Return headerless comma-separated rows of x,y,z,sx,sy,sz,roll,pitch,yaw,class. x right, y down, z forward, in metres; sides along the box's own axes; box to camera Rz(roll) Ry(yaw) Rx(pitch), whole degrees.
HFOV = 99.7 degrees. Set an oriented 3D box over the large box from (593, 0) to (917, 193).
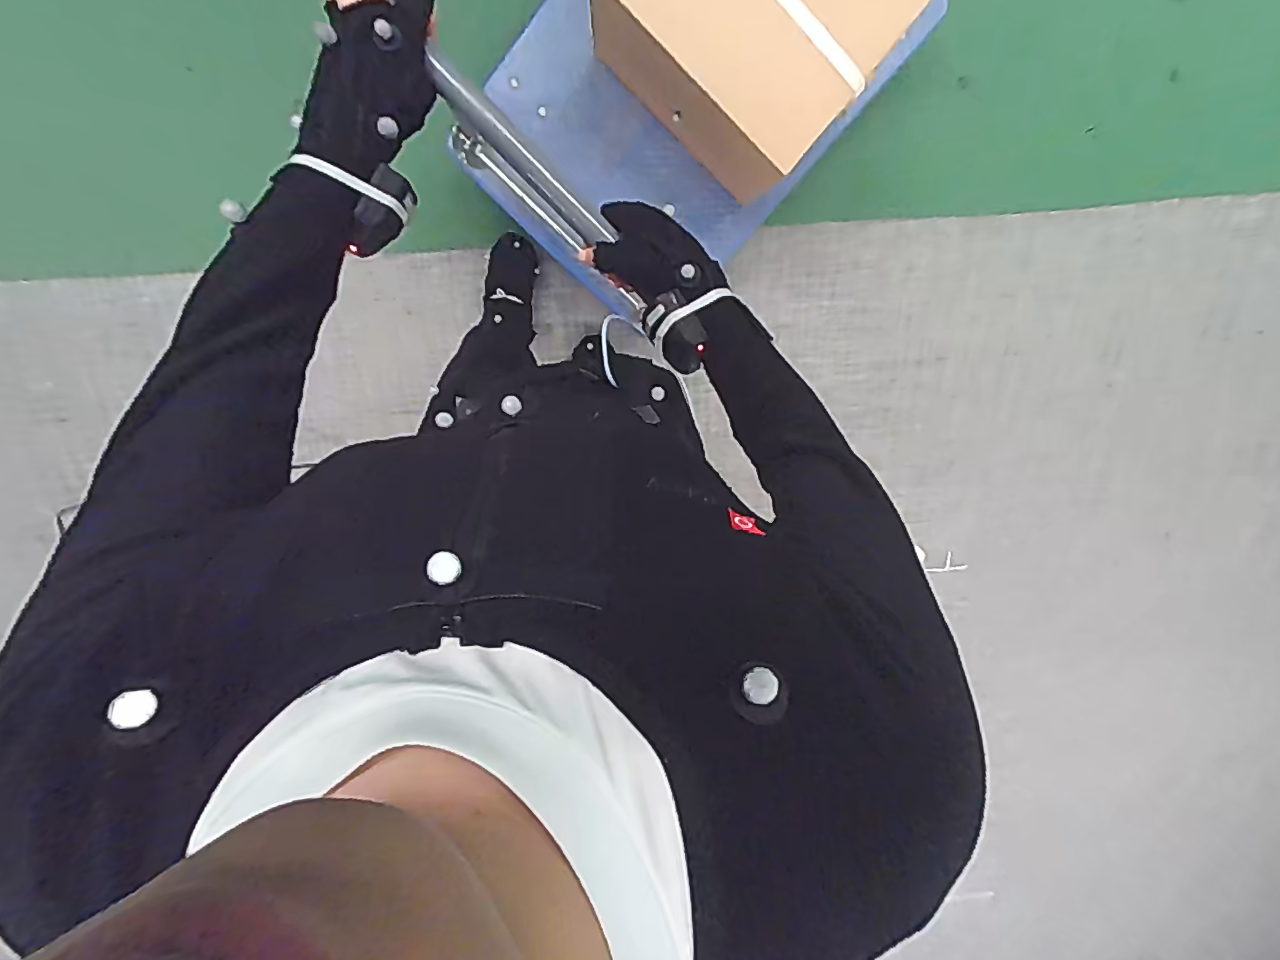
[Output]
0.171,-0.775,0.918,0.408,0.320,0.320,38,103,-14,large box
